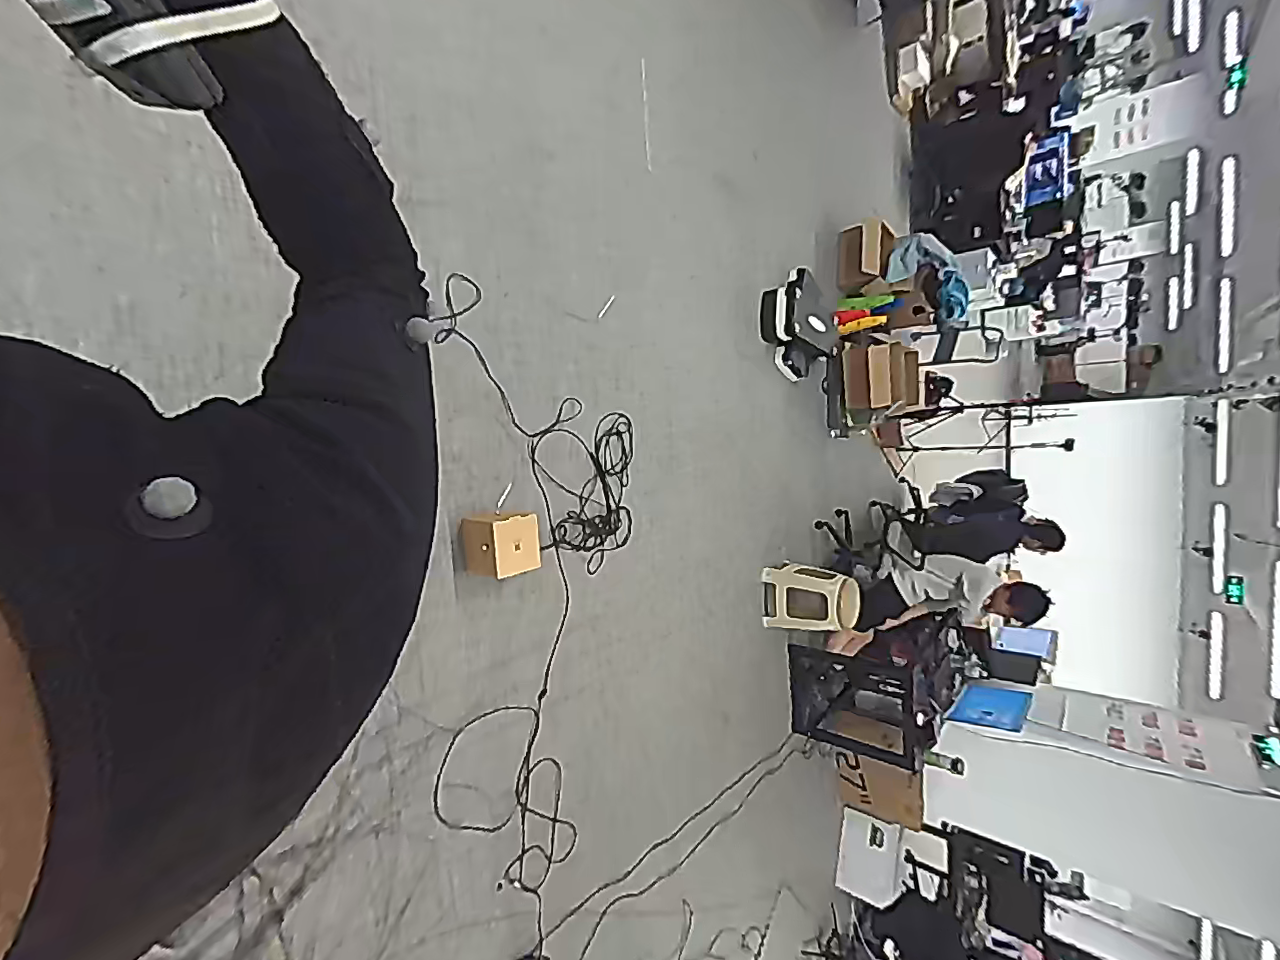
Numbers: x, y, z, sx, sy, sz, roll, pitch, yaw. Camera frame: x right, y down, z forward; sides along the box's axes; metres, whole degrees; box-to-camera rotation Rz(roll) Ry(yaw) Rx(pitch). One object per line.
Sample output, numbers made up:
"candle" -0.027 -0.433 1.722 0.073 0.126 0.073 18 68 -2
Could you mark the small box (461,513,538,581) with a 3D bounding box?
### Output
"small box" -0.443 0.205 1.701 0.168 0.176 0.179 -10 97 -49
